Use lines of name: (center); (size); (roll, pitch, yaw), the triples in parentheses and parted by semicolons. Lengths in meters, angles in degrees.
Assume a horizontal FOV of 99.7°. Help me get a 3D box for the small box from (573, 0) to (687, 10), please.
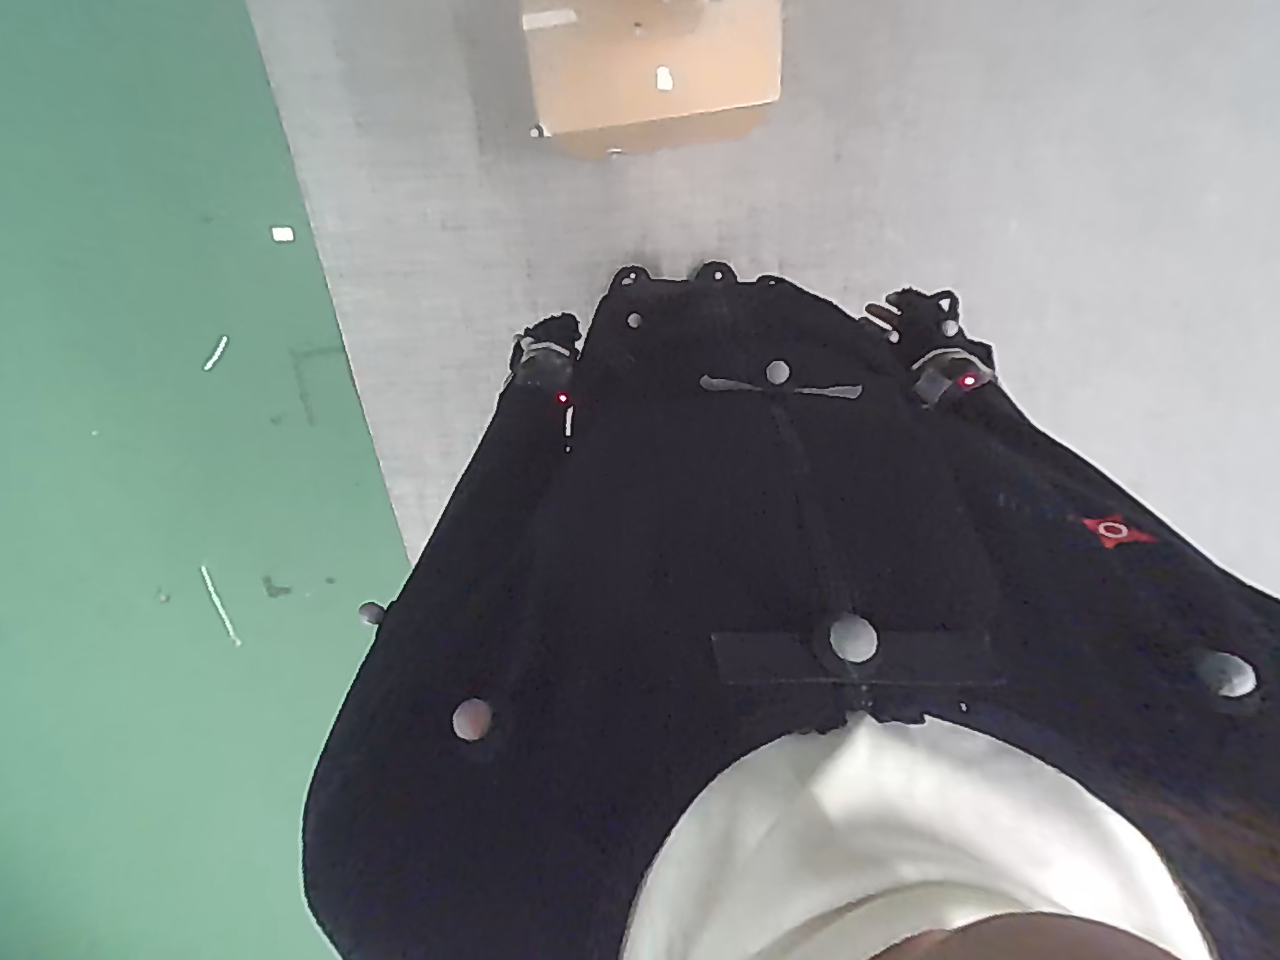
small box: (-0.015, -0.660, 0.606); (0.168, 0.176, 0.179); (-4, 118, 3)
